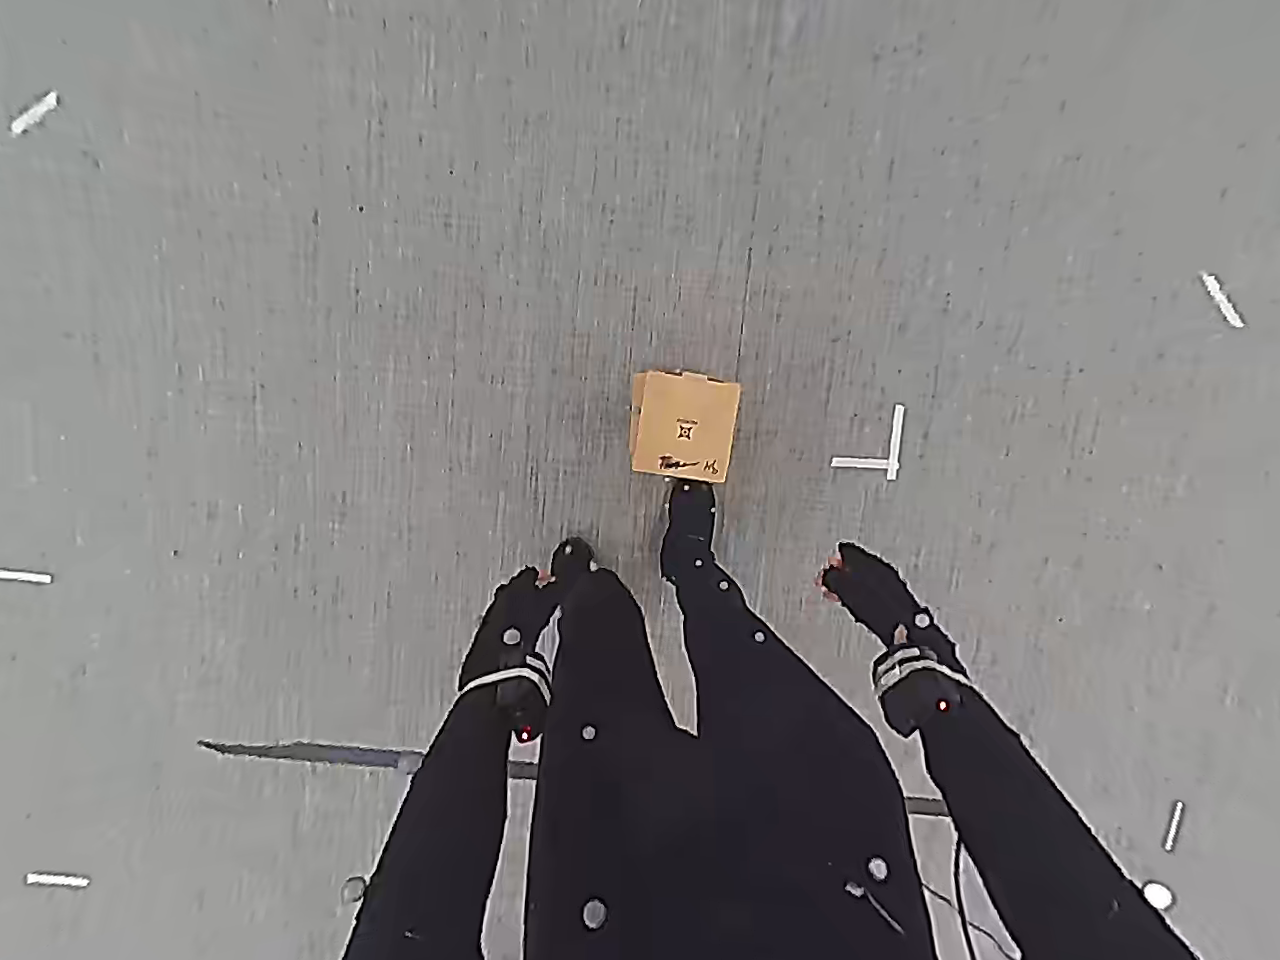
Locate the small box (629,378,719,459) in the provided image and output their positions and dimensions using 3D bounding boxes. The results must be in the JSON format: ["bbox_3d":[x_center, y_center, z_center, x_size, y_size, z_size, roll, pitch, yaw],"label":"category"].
[{"bbox_3d":[0.068,-0.129,1.167,0.179,0.176,0.168,2,97,0],"label":"small box"}]

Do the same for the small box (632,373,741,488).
[{"bbox_3d":[0.077,-0.092,1.007,0.168,0.176,0.179,9,96,-2],"label":"small box"}]
